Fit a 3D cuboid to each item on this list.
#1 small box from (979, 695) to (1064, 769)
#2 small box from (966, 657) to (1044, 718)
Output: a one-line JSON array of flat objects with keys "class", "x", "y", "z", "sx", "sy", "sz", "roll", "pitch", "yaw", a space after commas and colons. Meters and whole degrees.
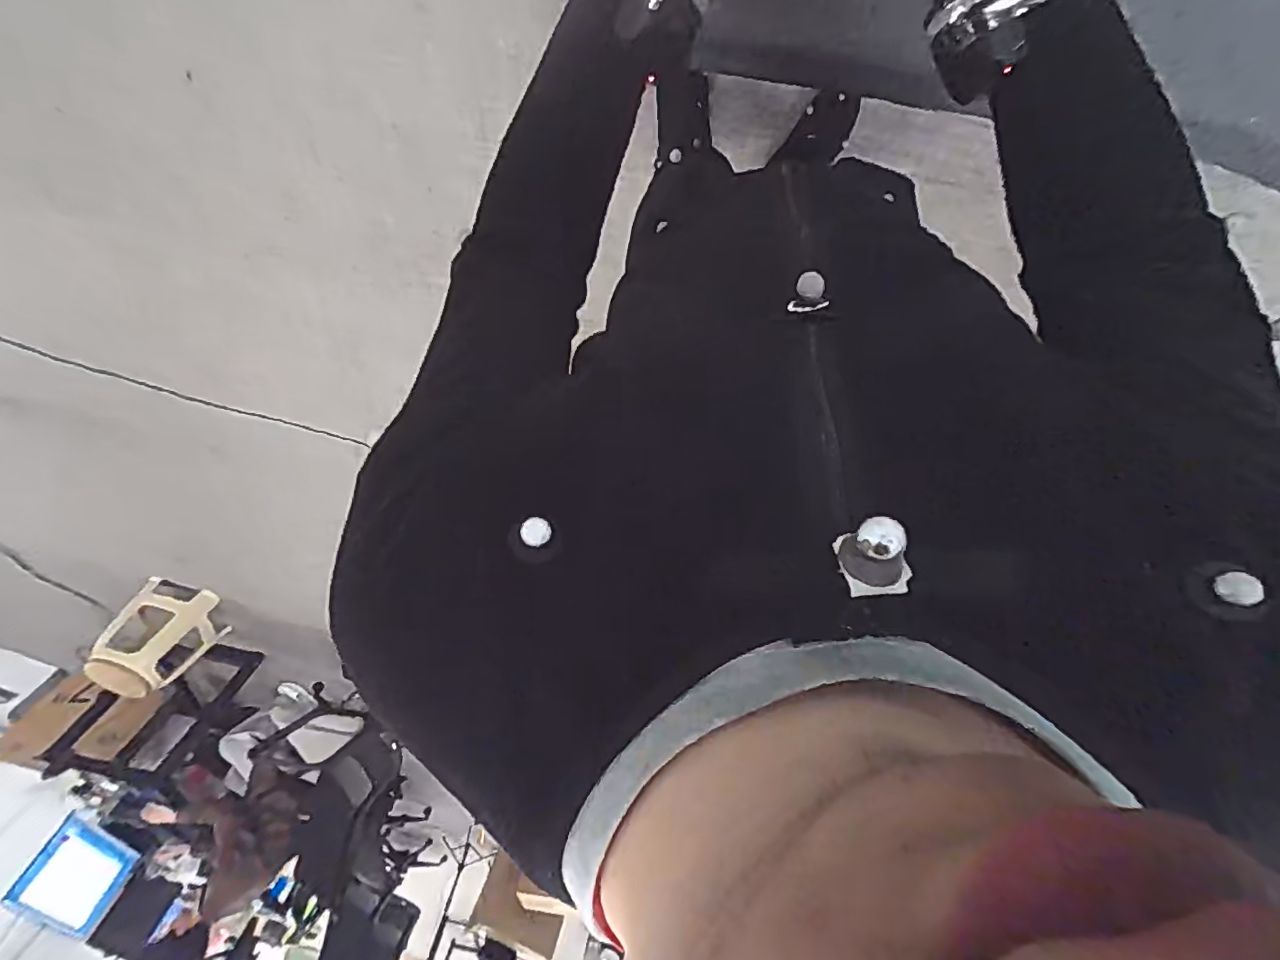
[{"class": "small box", "x": 1.365, "y": 0.907, "z": 1.952, "sx": 0.168, "sy": 0.176, "sz": 0.179, "roll": 13, "pitch": 130, "yaw": 3}, {"class": "small box", "x": 1.392, "y": 0.809, "z": 2.079, "sx": 0.168, "sy": 0.176, "sz": 0.179, "roll": 11, "pitch": 128, "yaw": 3}]
